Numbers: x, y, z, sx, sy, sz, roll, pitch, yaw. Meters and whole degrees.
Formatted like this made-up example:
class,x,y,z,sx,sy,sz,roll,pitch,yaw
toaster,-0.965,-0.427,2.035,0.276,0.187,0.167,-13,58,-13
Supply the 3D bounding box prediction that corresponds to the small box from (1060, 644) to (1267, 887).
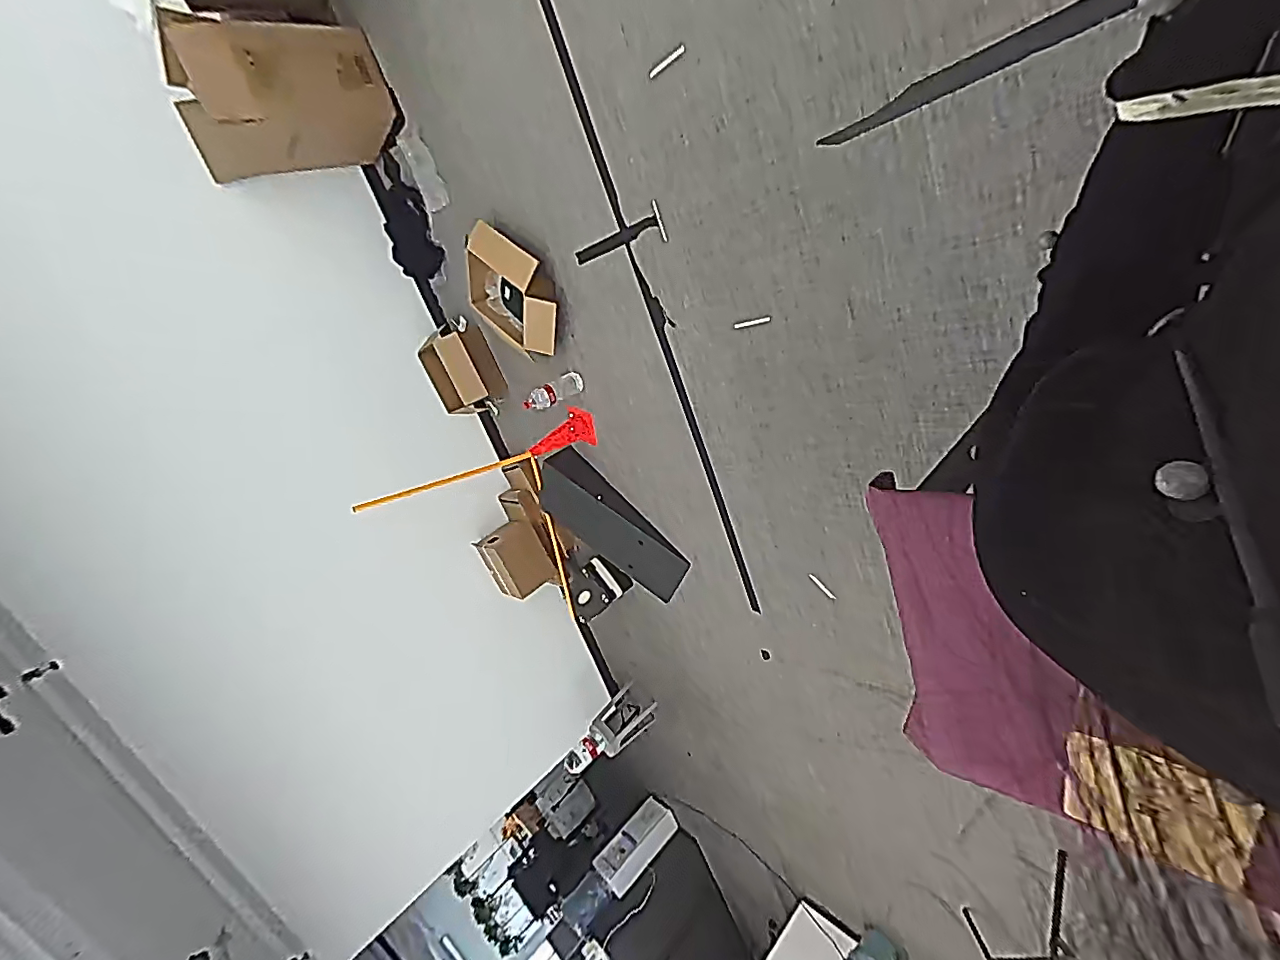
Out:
class,x,y,z,sx,sy,sz,roll,pitch,yaw
small box,0.664,0.350,0.693,0.168,0.176,0.179,11,126,47
